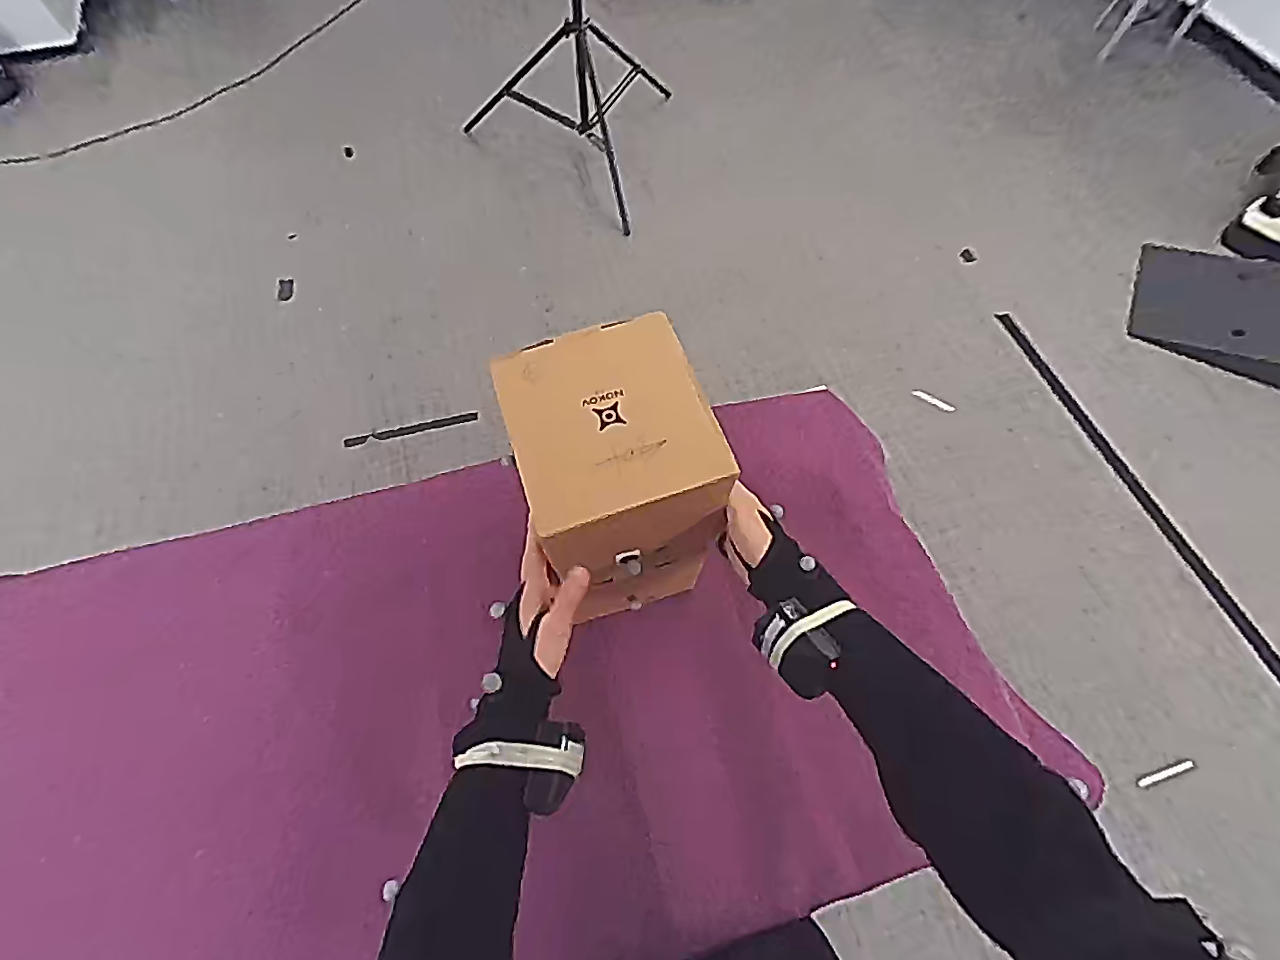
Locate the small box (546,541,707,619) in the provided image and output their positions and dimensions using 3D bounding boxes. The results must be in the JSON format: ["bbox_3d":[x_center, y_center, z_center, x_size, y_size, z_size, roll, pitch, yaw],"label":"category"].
[{"bbox_3d":[-0.031,0.052,0.663,0.168,0.176,0.179,-15,67,-7],"label":"small box"}]

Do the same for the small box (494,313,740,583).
[{"bbox_3d":[-0.026,-0.022,0.518,0.168,0.176,0.179,-17,67,-8],"label":"small box"}]
